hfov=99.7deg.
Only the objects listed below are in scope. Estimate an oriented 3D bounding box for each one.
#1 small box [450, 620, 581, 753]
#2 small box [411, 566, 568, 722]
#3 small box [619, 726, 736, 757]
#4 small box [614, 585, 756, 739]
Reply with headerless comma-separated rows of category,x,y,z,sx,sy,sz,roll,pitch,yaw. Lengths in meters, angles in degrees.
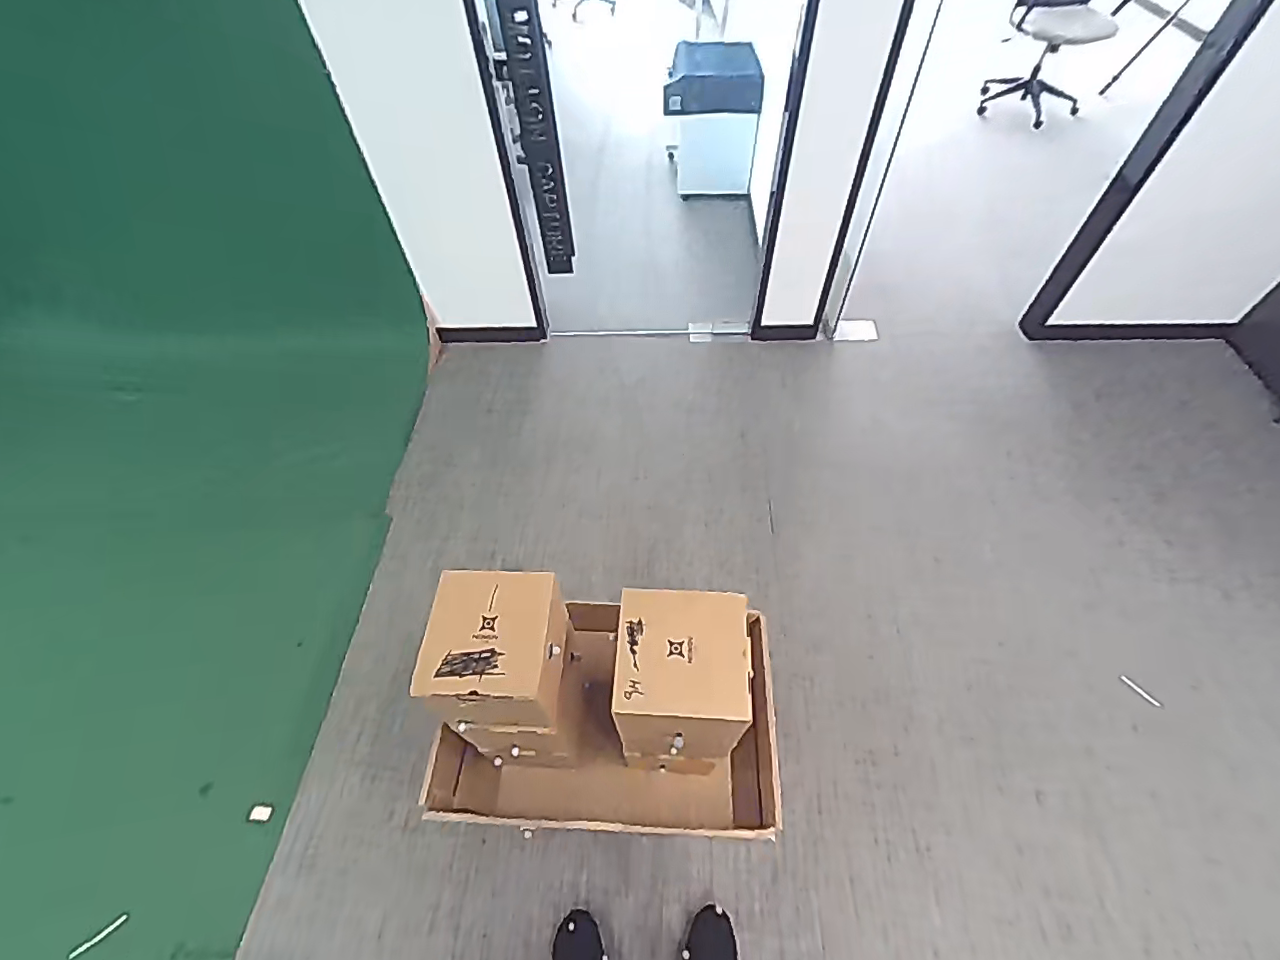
small box,-0.196,0.344,0.912,0.168,0.176,0.179,3,54,3
small box,-0.201,0.242,0.782,0.168,0.176,0.179,1,53,1
small box,0.063,0.356,0.903,0.179,0.176,0.168,4,56,3
small box,0.060,0.263,0.768,0.179,0.176,0.168,3,56,3
